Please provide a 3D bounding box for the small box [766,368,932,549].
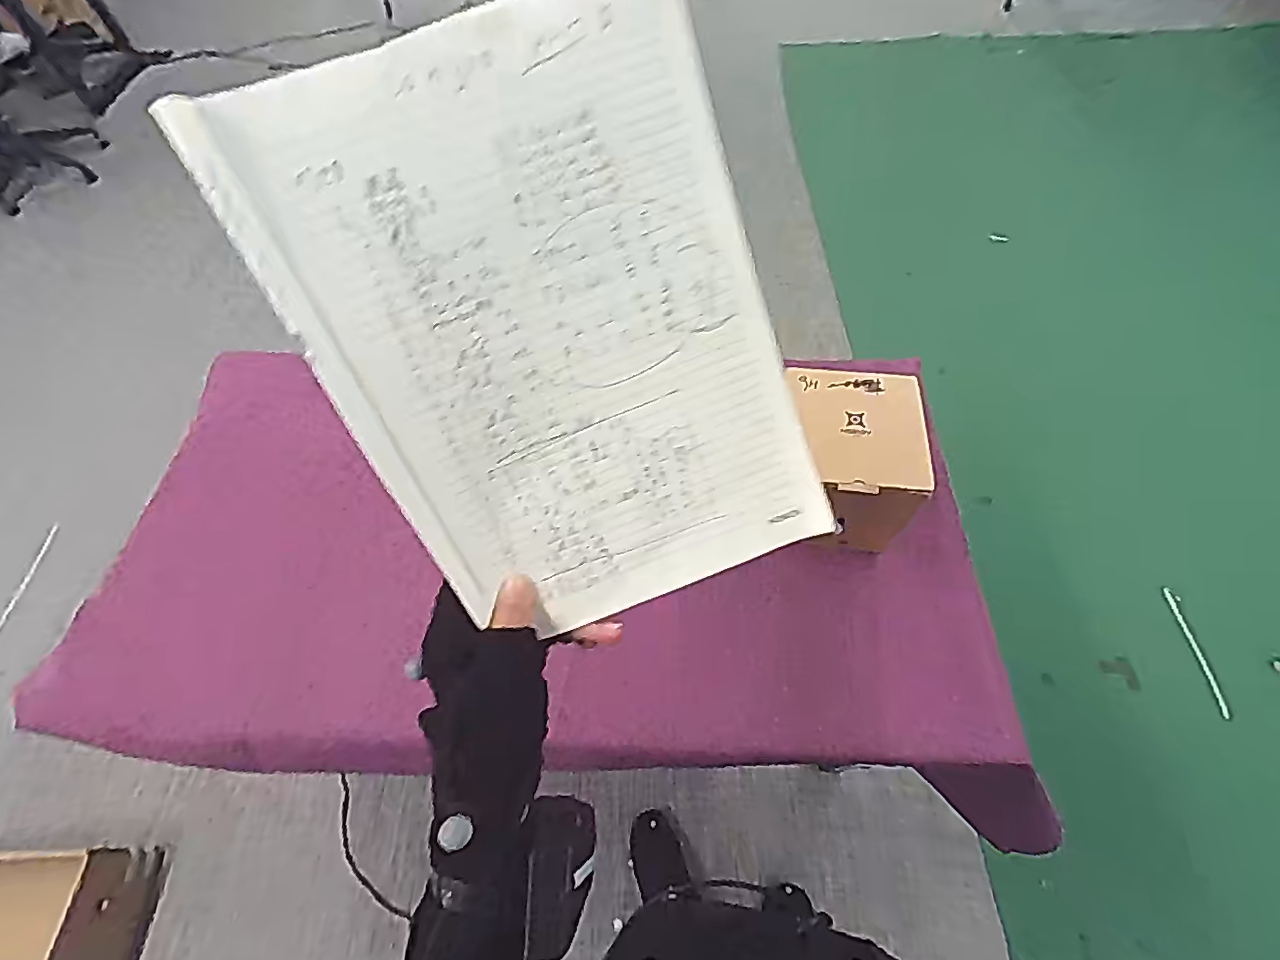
[{"bbox_3d":[0.264,-0.023,0.720,0.168,0.176,0.179,6,61,7],"label":"small box"}]
